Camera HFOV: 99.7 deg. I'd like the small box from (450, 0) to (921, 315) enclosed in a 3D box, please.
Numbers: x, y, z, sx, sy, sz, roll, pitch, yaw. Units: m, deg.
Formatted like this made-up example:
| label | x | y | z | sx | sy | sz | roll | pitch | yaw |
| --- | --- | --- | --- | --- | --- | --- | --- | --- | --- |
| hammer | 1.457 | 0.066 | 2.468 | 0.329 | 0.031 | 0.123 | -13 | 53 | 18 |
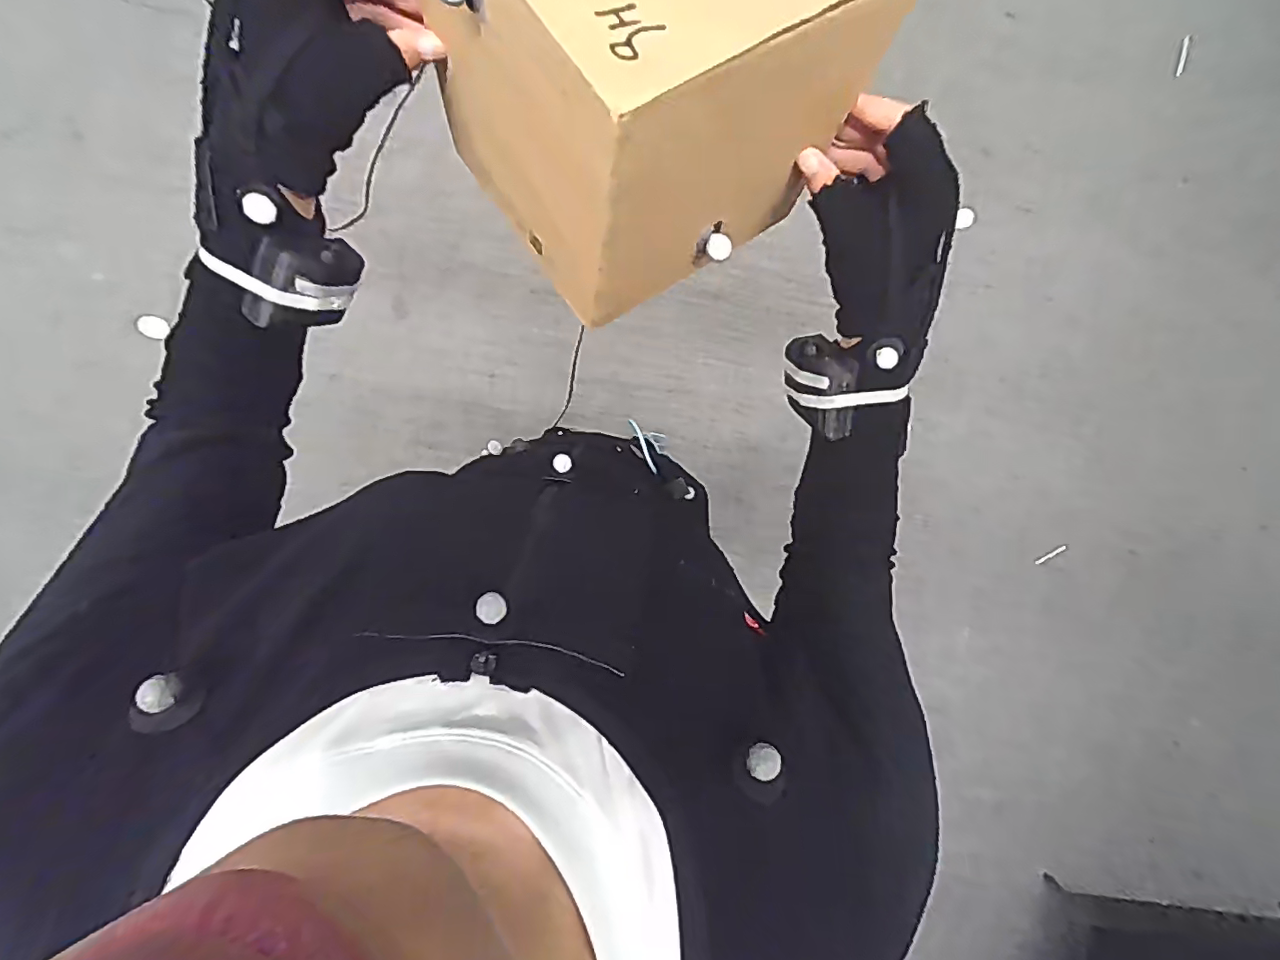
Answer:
| label | x | y | z | sx | sy | sz | roll | pitch | yaw |
| --- | --- | --- | --- | --- | --- | --- | --- | --- | --- |
| small box | 0.006 | -0.231 | 0.307 | 0.179 | 0.176 | 0.168 | -34 | 85 | -14 |
